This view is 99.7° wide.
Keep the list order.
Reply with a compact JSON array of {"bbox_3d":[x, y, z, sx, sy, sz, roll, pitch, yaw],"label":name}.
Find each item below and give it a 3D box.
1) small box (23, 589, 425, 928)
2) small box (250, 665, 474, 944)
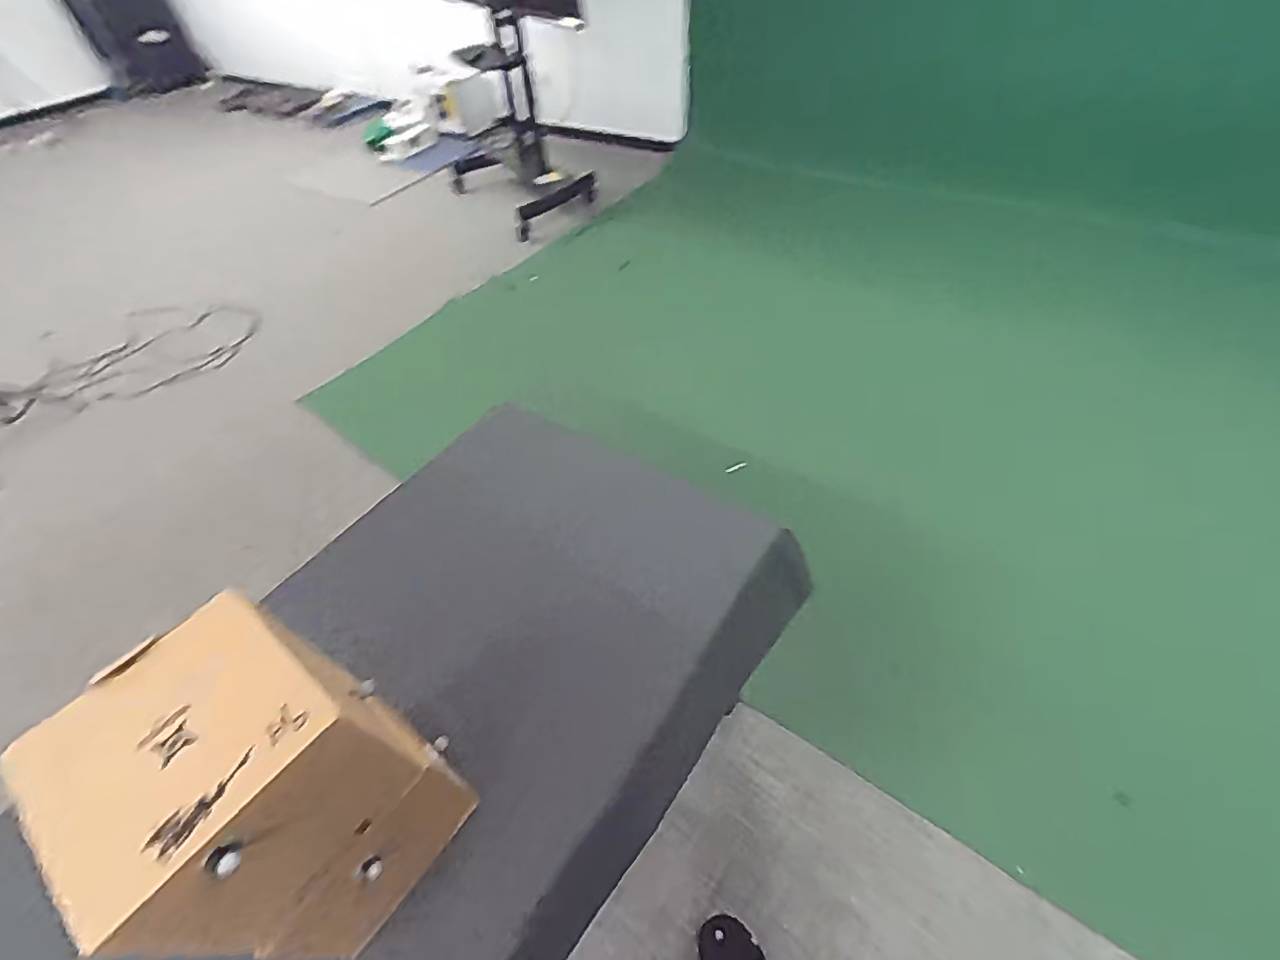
[{"bbox_3d":[-0.319,0.231,0.450,0.179,0.176,0.168,26,55,24],"label":"small box"},{"bbox_3d":[-0.306,0.340,0.568,0.168,0.176,0.179,27,55,25],"label":"small box"}]
